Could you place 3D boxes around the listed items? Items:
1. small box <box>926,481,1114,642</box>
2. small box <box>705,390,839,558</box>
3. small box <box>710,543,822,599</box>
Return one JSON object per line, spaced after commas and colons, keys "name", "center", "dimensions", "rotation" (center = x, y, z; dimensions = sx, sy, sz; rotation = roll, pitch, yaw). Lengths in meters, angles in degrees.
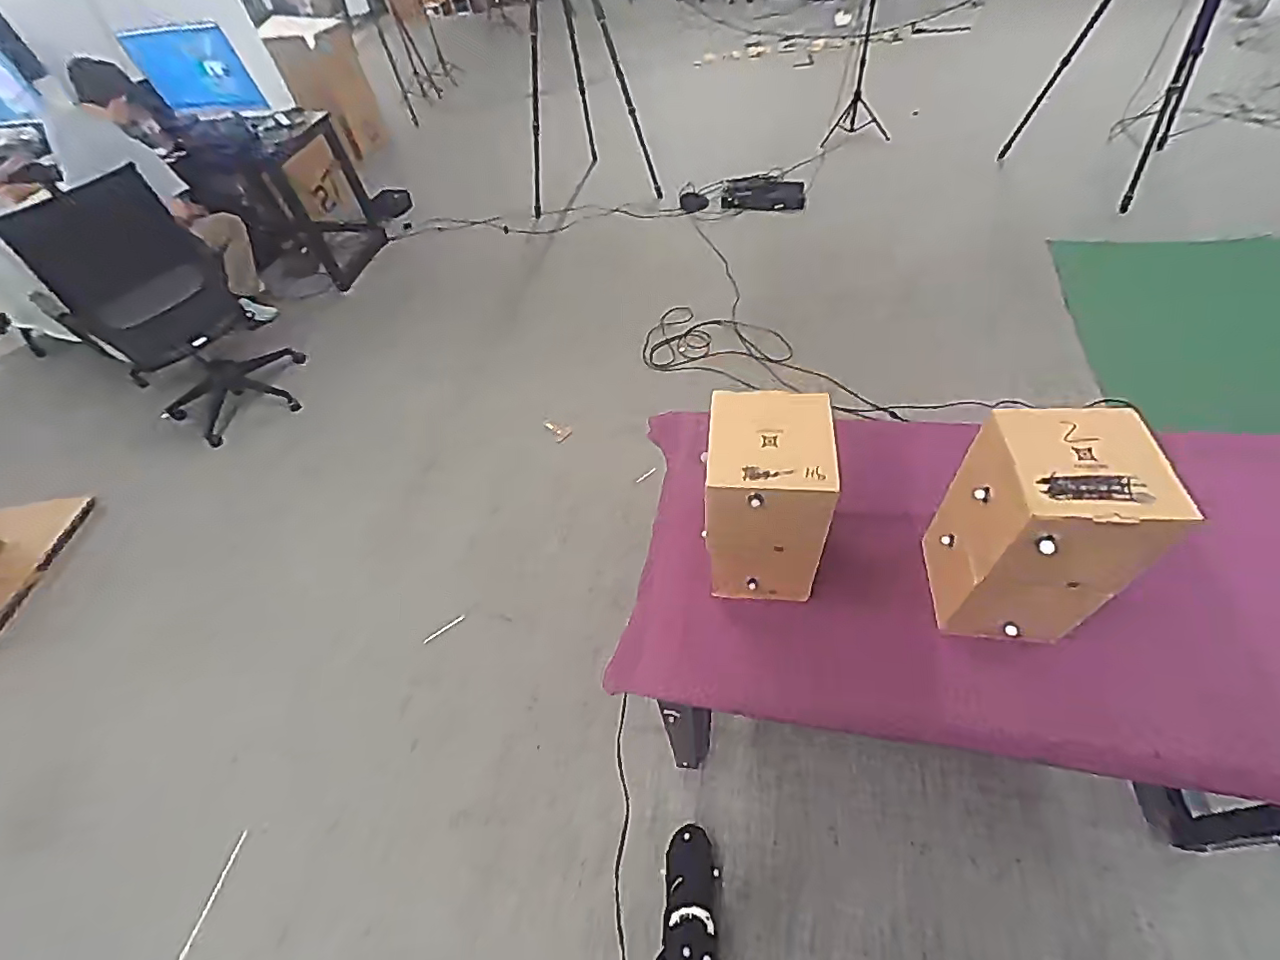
{"name": "small box", "center": [0.554, 0.124, 0.822], "dimensions": [0.168, 0.176, 0.179], "rotation": [2, 52, 12]}
{"name": "small box", "center": [0.182, -0.010, 0.779], "dimensions": [0.168, 0.176, 0.179], "rotation": [2, 52, 10]}
{"name": "small box", "center": [0.204, 0.081, 0.914], "dimensions": [0.168, 0.176, 0.179], "rotation": [0, 52, 9]}
